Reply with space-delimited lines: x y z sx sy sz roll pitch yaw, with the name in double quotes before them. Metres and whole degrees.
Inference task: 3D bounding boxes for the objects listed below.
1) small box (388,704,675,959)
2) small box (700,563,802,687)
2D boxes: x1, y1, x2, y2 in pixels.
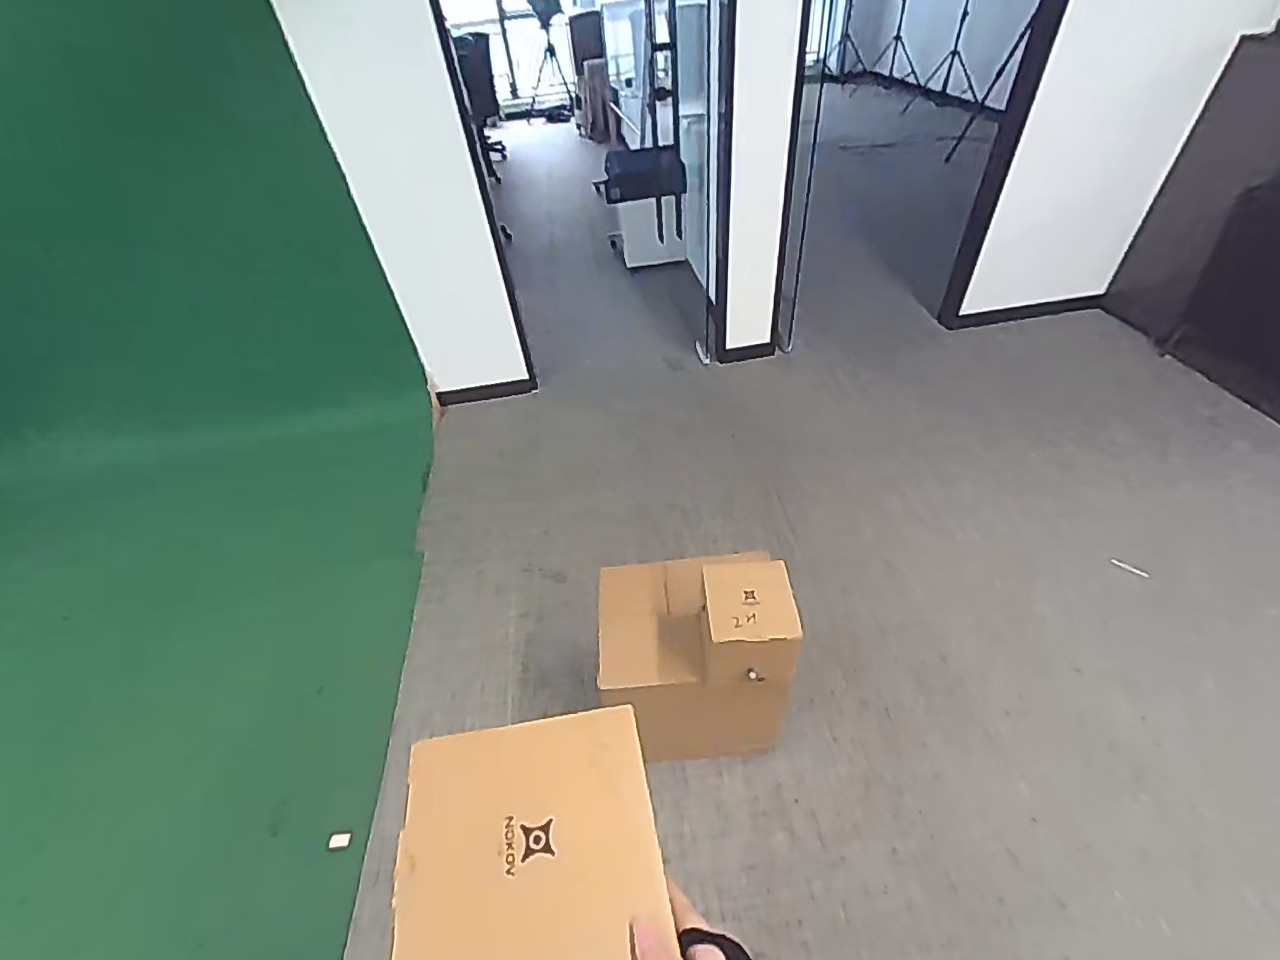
"small box" -0.080 0.307 0.430 0.179 0.176 0.168 -7 42 -9
"small box" 0.208 0.286 1.069 0.168 0.176 0.179 -3 43 2
